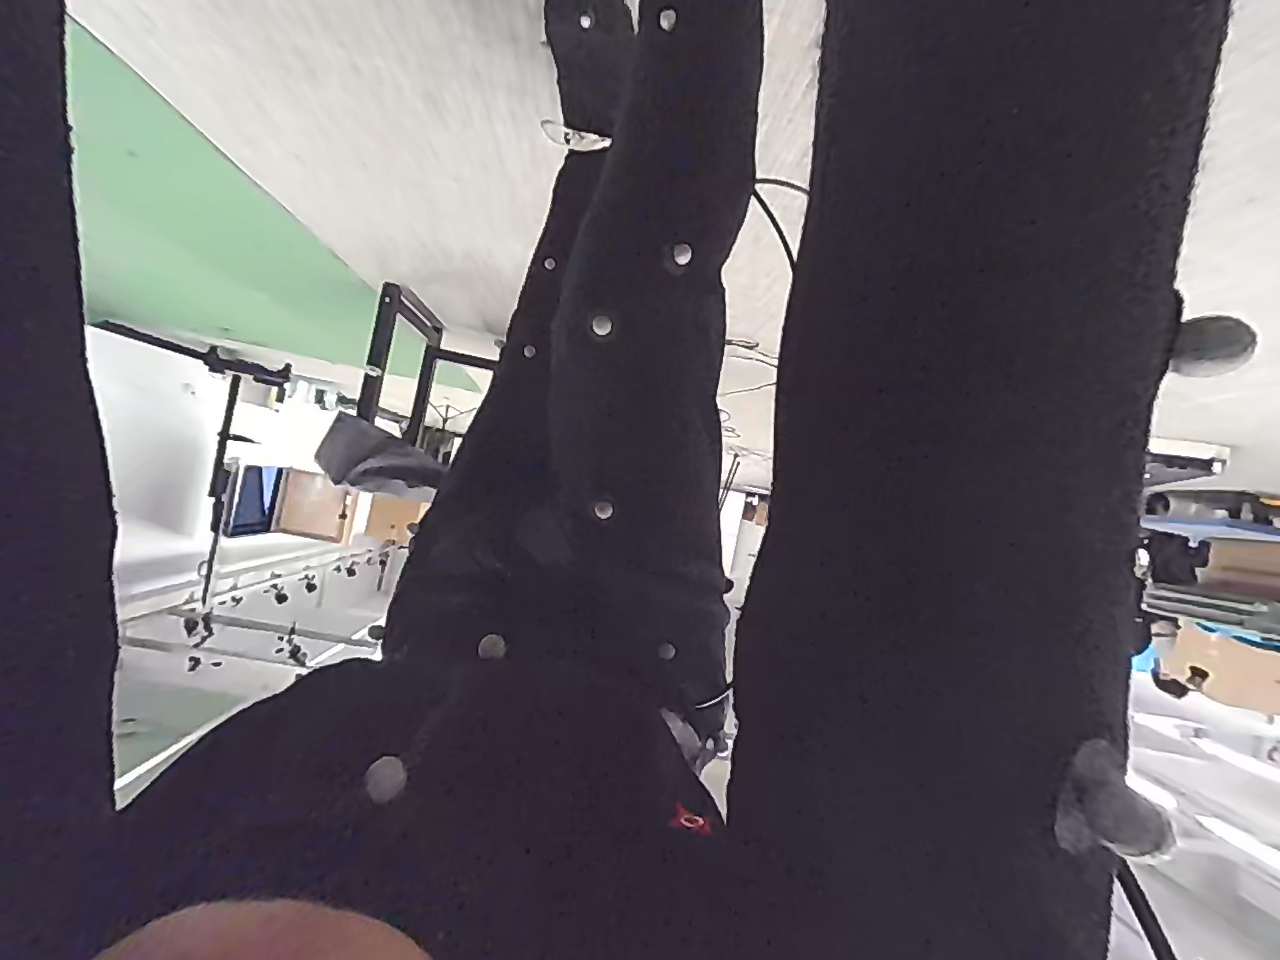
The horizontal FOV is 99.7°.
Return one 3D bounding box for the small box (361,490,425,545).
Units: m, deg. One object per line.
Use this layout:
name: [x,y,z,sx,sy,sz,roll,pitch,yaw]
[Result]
small box: [-0.914,0.138,2.018,0.179,0.176,0.168,12,177,-10]
